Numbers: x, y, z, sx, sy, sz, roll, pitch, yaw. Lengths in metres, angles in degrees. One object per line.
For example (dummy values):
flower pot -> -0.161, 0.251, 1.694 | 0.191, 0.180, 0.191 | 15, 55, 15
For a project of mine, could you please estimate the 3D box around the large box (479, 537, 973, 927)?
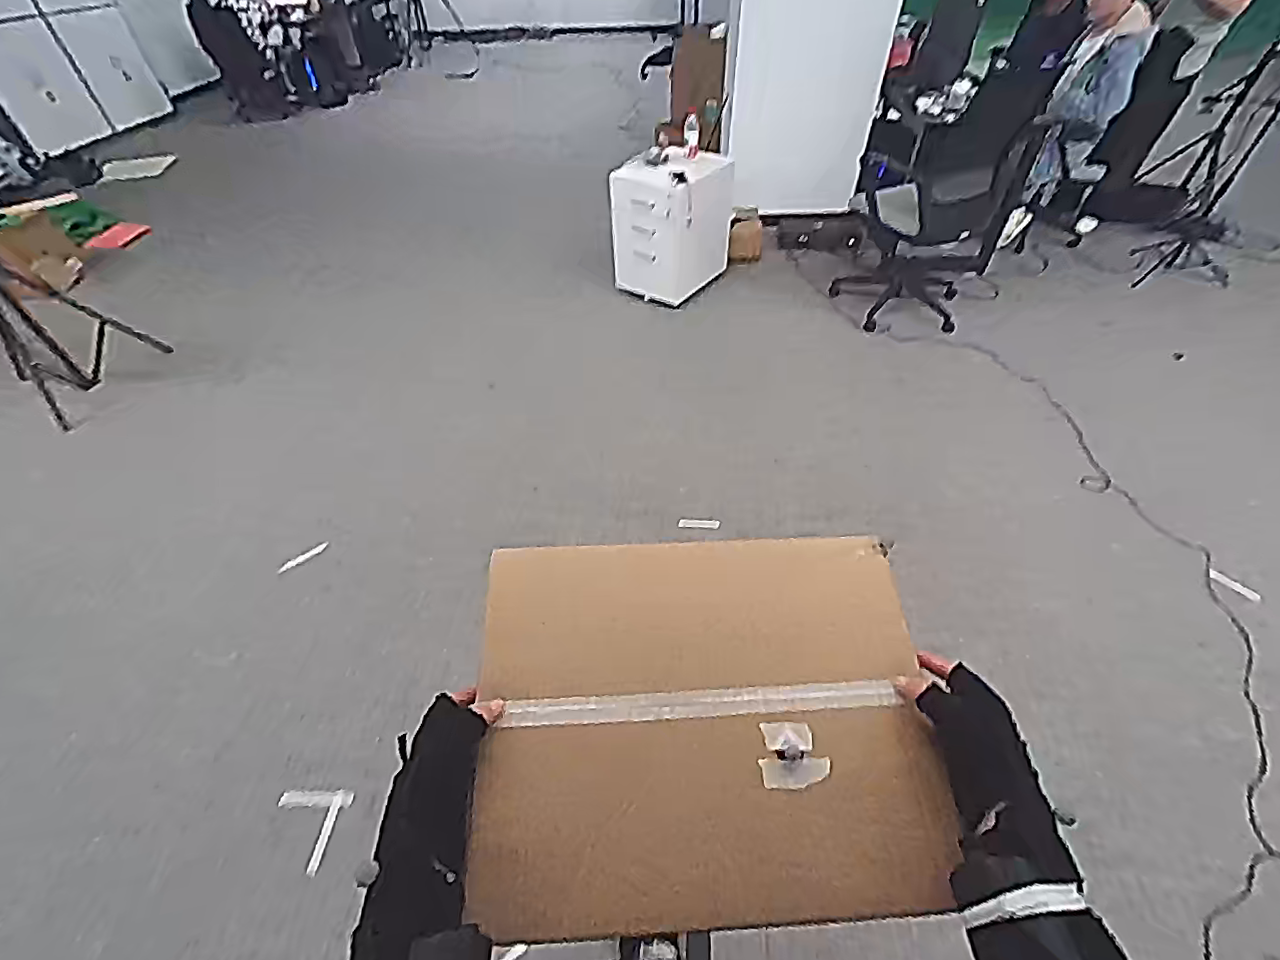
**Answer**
large box -> 0.057, 0.278, 0.625 | 0.408, 0.320, 0.320 | -1, 59, -3
